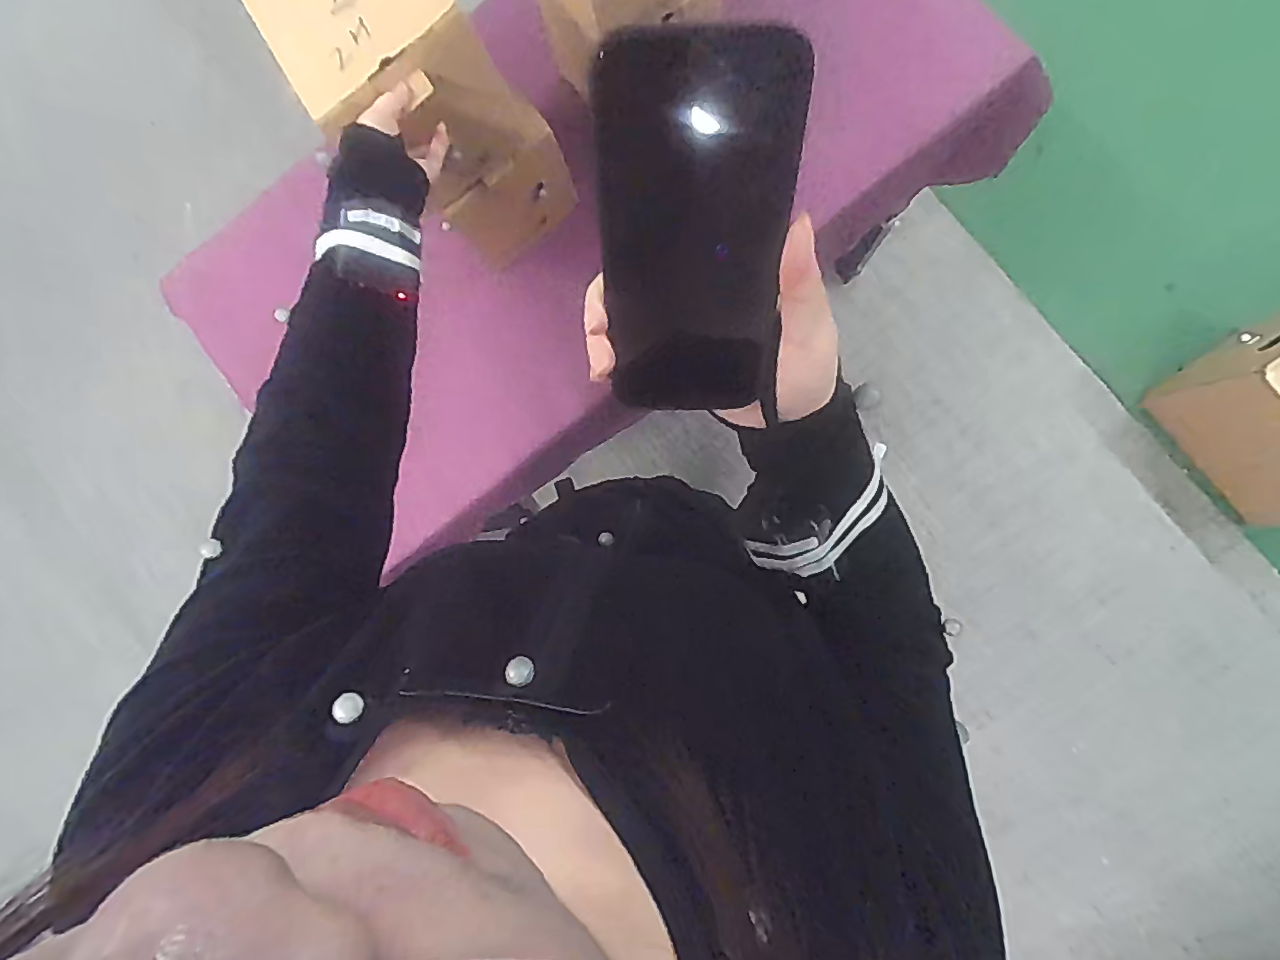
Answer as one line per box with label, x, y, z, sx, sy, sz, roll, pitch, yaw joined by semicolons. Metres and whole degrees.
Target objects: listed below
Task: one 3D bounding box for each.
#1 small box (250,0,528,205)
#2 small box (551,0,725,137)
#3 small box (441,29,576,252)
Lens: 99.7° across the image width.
small box;-0.247;-0.432;0.558;0.168;0.176;0.179;-33;82;9
small box;-0.007;-0.610;0.712;0.168;0.176;0.179;-39;86;4
small box;-0.209;-0.439;0.729;0.168;0.176;0.179;-38;85;3
